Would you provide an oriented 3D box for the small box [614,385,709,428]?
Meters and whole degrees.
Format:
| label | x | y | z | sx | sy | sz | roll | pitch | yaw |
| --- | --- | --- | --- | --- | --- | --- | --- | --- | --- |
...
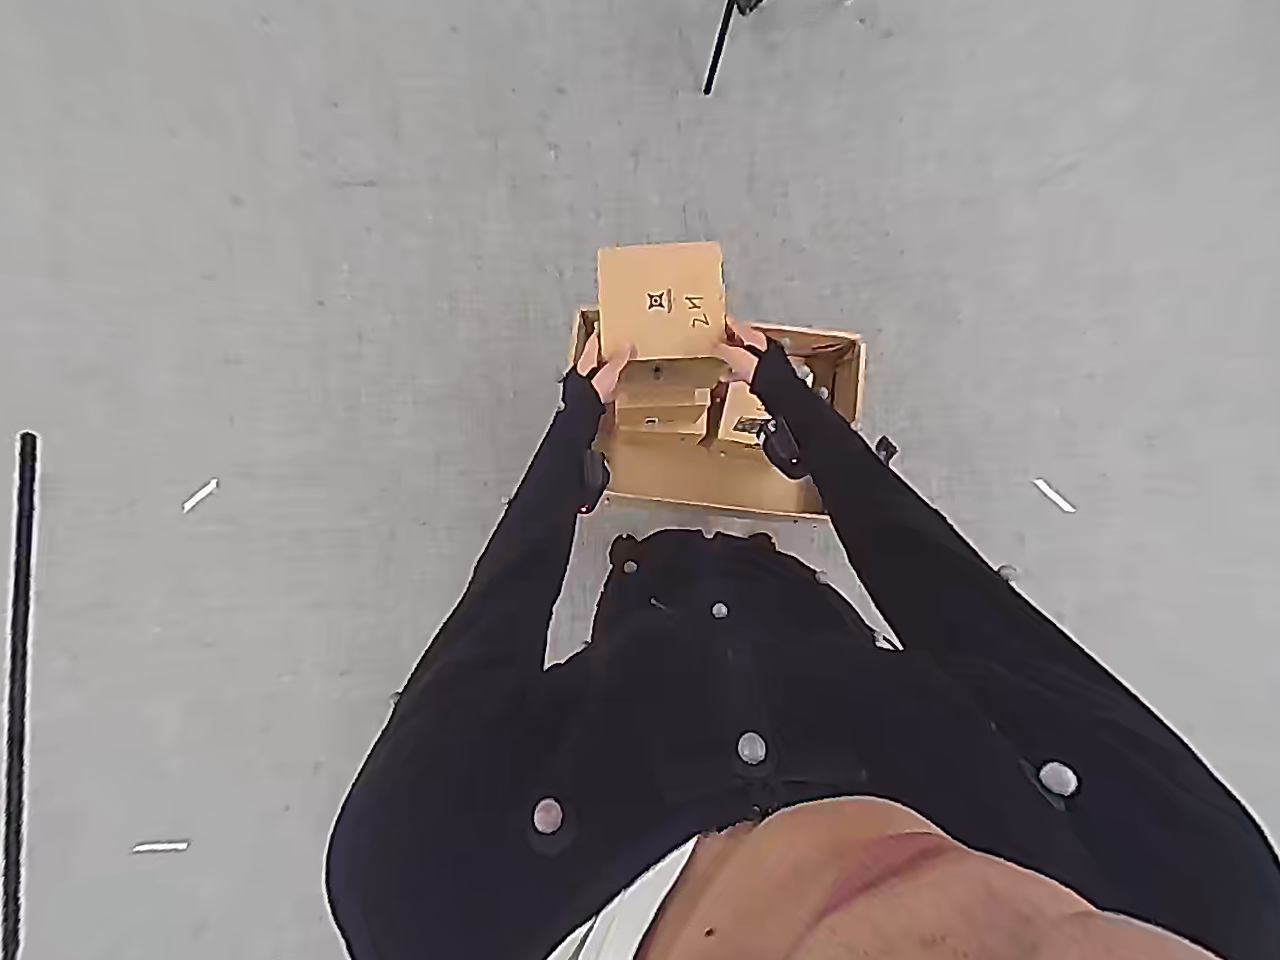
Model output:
| label | x | y | z | sx | sy | sz | roll | pitch | yaw |
| --- | --- | --- | --- | --- | --- | --- | --- | --- | --- |
| small box | 0.033 | -0.200 | 1.012 | 0.168 | 0.176 | 0.179 | -2 | 85 | -2 |

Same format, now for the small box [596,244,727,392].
| label | x | y | z | sx | sy | sz | roll | pitch | yaw |
| --- | --- | --- | --- | --- | --- | --- | --- | --- | --- |
| small box | 0.030 | -0.234 | 0.817 | 0.179 | 0.176 | 0.168 | -3 | 85 | 1 |
